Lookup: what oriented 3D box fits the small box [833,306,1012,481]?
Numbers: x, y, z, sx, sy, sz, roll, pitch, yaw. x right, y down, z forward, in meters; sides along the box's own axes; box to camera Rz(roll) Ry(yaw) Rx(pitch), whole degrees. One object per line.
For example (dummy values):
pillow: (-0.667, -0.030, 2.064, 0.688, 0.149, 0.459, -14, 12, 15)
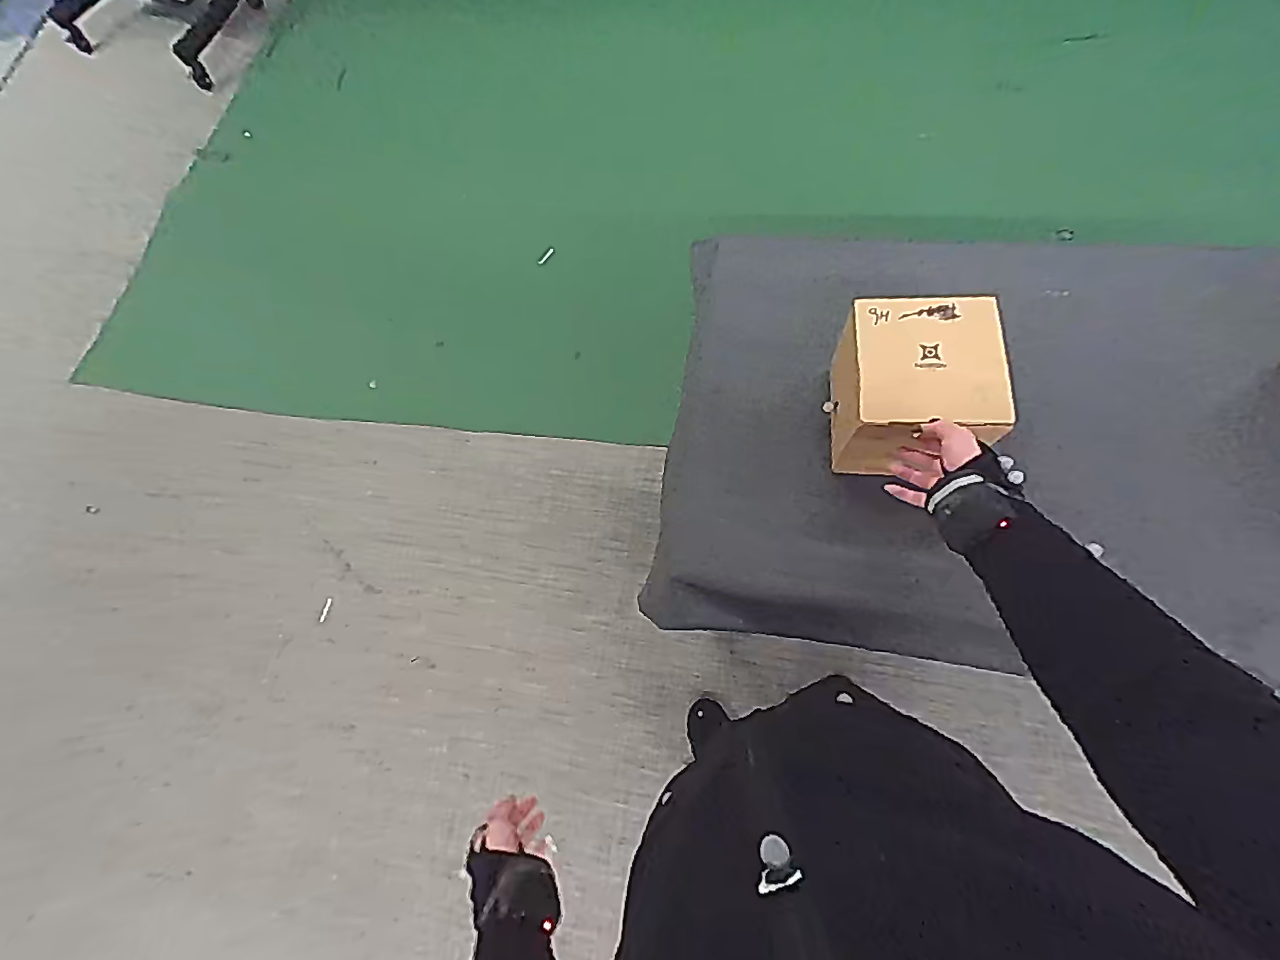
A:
small box: (0.357, -0.107, 0.718, 0.168, 0.176, 0.179, 3, 70, 9)
